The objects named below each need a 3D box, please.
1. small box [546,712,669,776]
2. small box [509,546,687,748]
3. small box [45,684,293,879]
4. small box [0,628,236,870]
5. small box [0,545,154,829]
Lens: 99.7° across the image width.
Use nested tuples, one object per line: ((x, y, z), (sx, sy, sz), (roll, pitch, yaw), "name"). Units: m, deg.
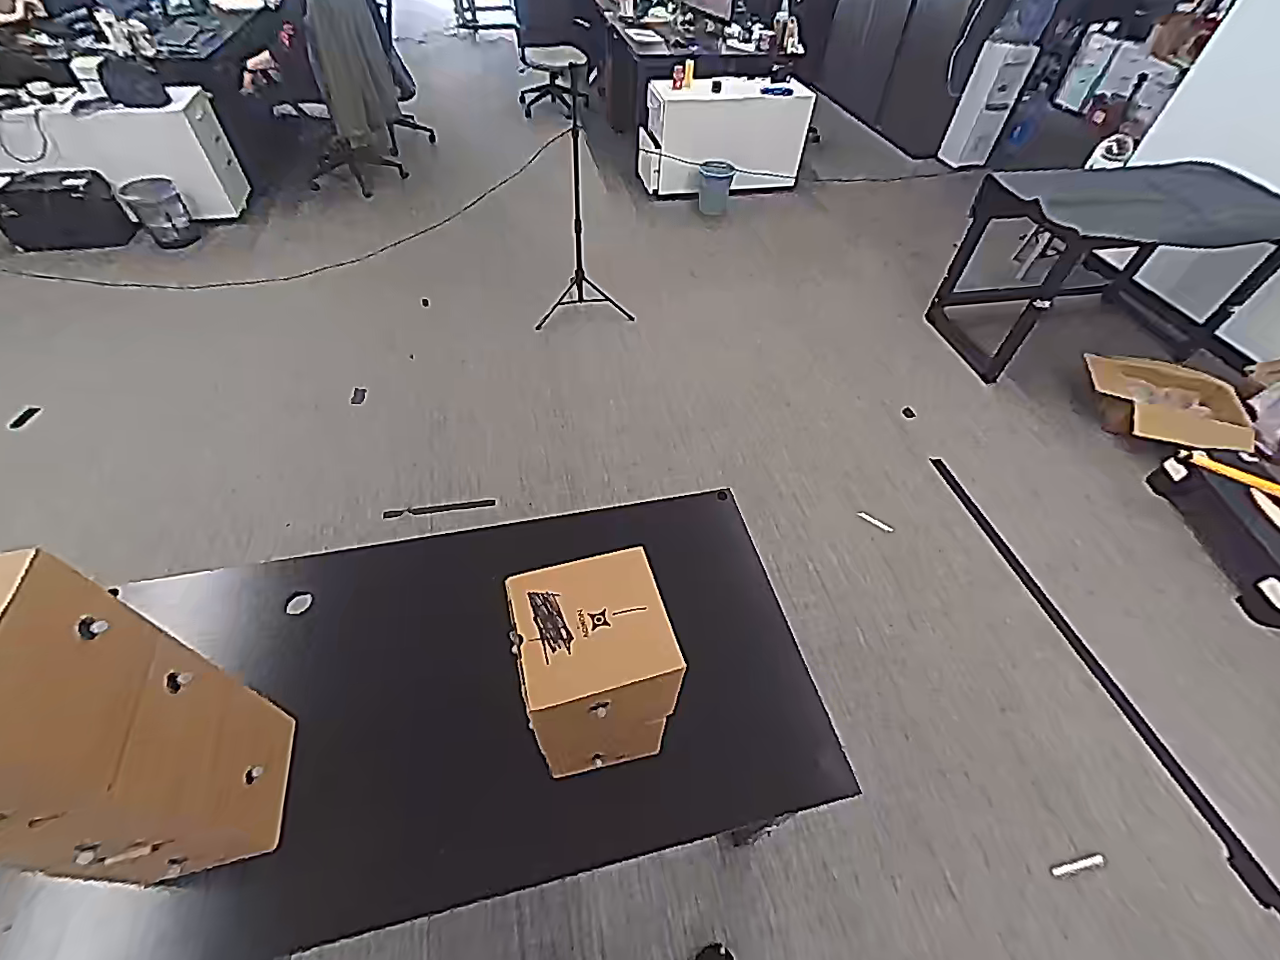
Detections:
((-0.064, 0.312, 0.805), (0.168, 0.176, 0.179), (-9, 51, -10), "small box")
((-0.055, 0.211, 0.676), (0.179, 0.176, 0.168), (-11, 52, -13), "small box")
((-0.584, 0.396, 0.705), (0.168, 0.176, 0.179), (-10, 52, -11), "small box")
((-0.577, 0.288, 0.581), (0.168, 0.176, 0.179), (-10, 51, -10), "small box")
((-0.570, 0.184, 0.456), (0.168, 0.176, 0.179), (-10, 52, -10), "small box")
